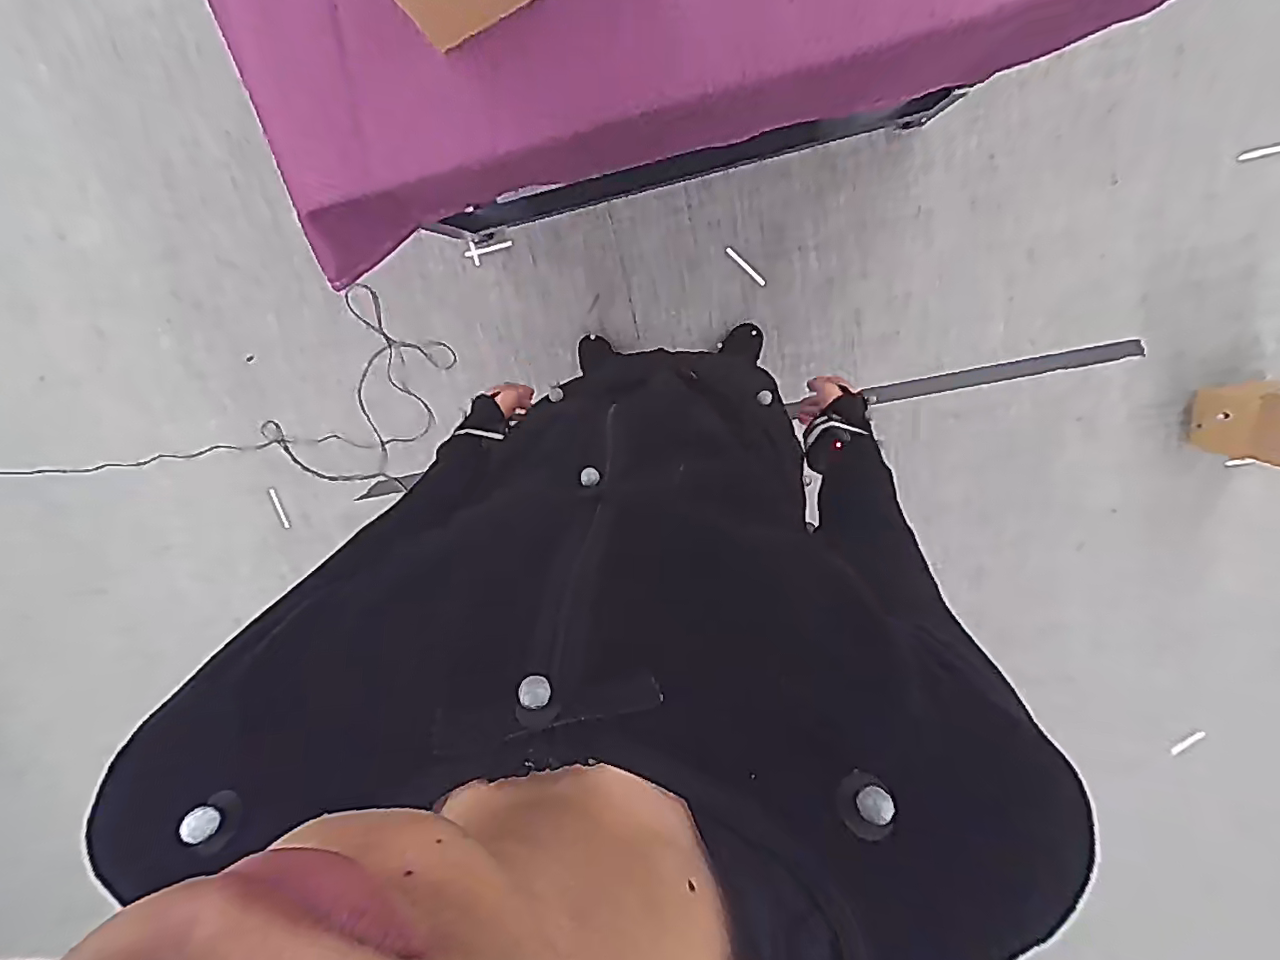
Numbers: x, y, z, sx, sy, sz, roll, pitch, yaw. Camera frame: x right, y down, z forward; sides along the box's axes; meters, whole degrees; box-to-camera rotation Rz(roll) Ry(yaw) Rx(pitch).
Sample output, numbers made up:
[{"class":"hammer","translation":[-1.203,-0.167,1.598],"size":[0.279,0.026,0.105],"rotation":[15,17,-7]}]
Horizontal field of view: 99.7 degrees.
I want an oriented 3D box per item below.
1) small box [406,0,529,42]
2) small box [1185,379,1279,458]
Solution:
[{"class":"small box","translation":[-0.217,-0.643,0.600],"size":[0.179,0.176,0.168],"rotation":[-21,106,9]},{"class":"small box","translation":[1.609,-0.165,1.424],"size":[0.179,0.176,0.168],"rotation":[-7,108,5]}]
